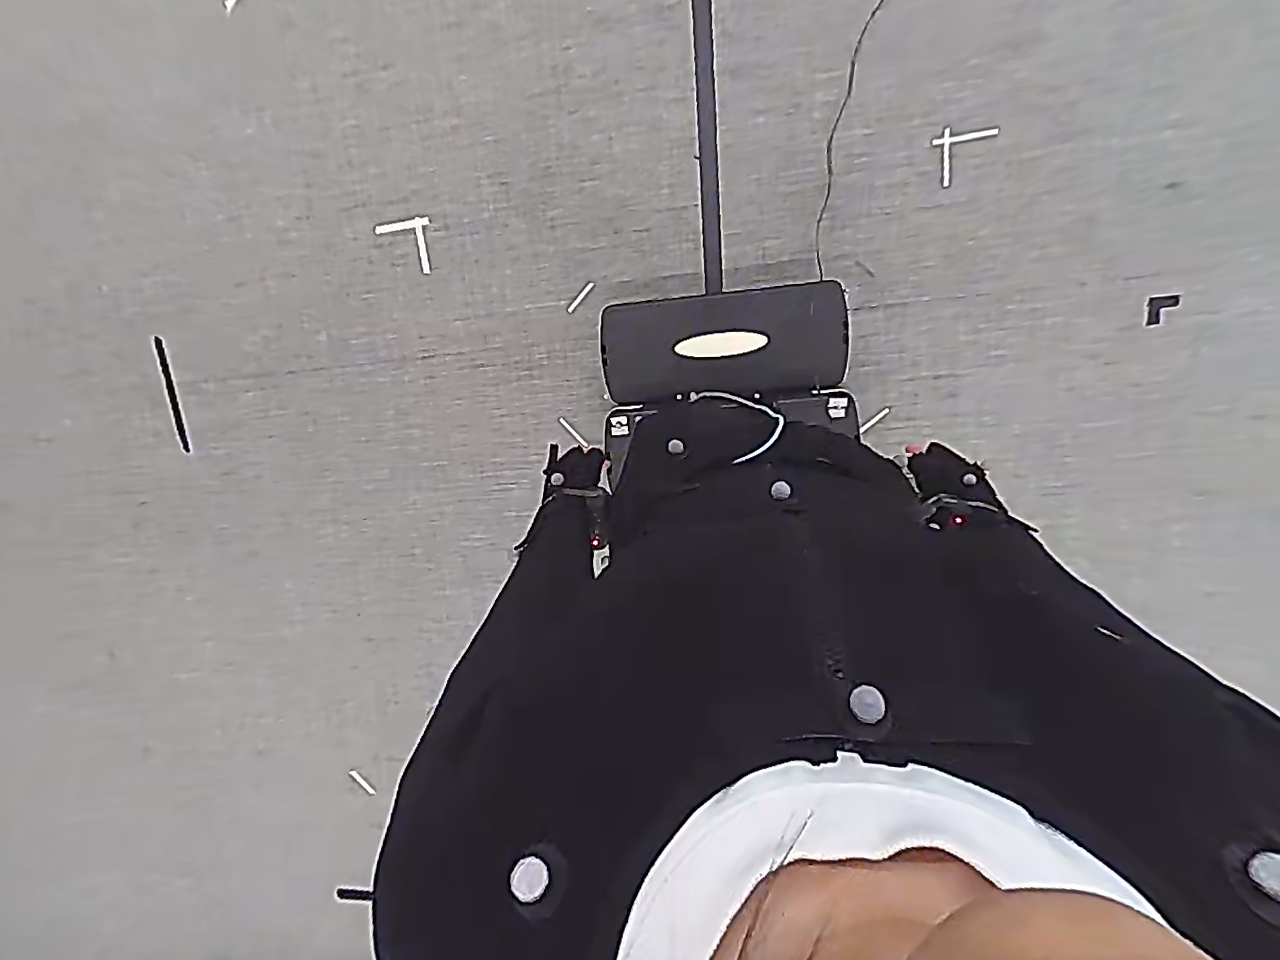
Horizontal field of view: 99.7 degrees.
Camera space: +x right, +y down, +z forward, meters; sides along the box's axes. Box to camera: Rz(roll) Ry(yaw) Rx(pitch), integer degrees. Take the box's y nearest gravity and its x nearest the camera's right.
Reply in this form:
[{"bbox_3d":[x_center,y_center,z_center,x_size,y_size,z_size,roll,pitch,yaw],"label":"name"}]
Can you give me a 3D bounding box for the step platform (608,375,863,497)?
[{"bbox_3d":[0.252,-0.120,1.505,0.684,0.204,0.286,-4,100,10],"label":"step platform"}]
